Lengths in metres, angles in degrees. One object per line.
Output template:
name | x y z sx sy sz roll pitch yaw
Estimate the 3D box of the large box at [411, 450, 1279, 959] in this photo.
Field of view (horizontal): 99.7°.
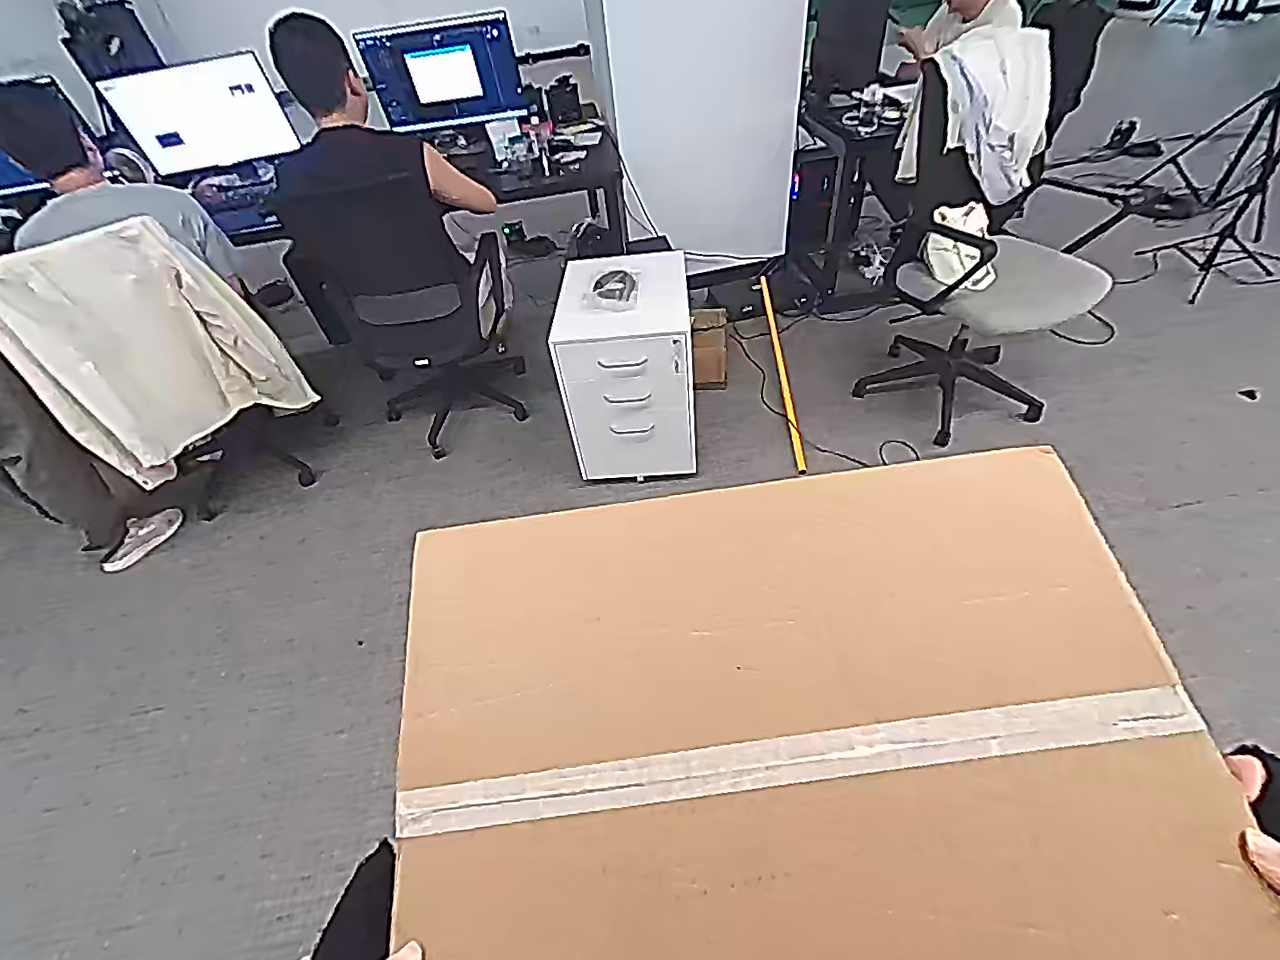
large box | 0.088 0.212 0.420 0.408 0.320 0.320 -8 64 1
